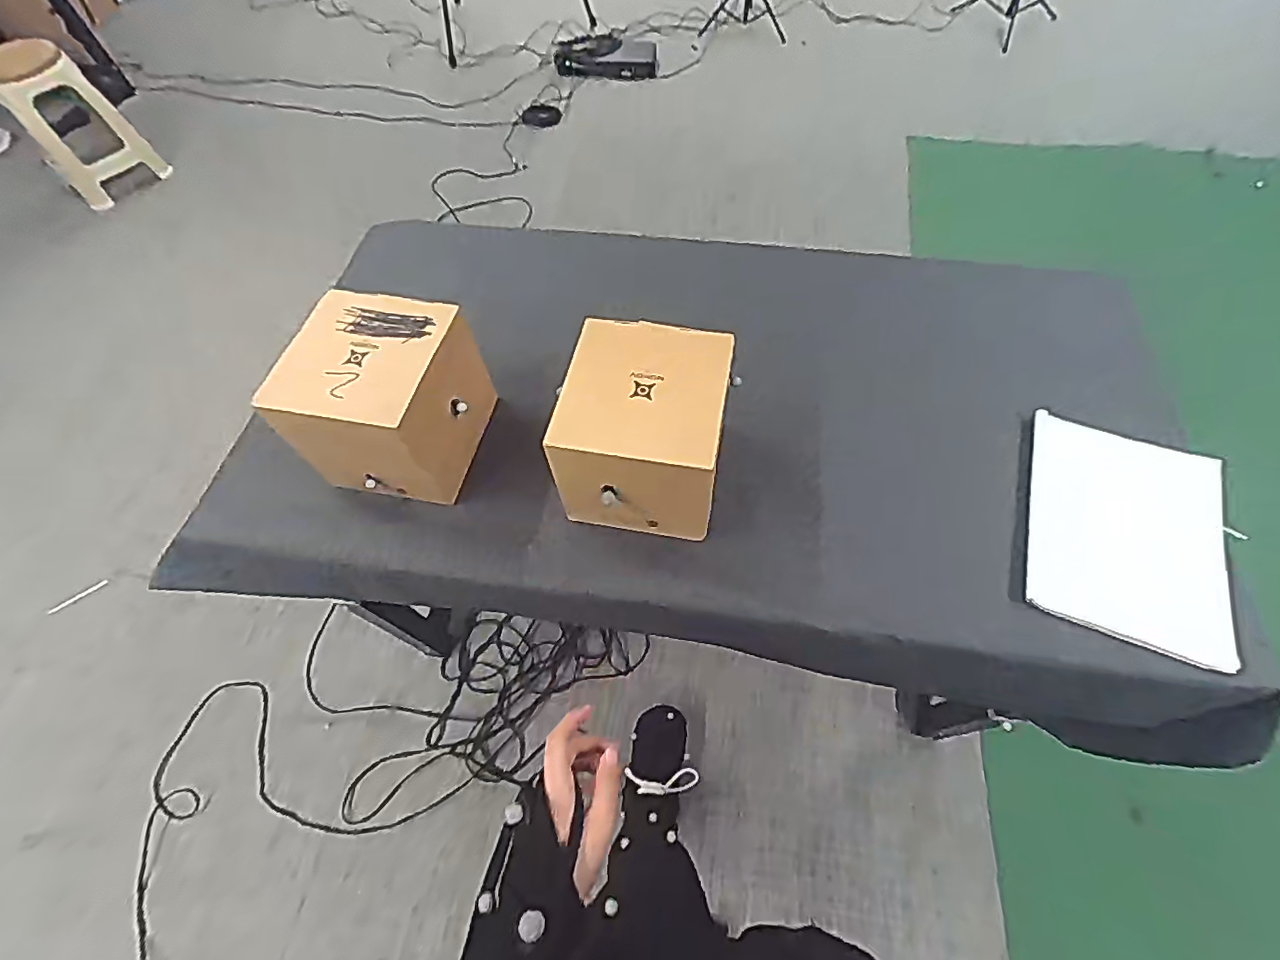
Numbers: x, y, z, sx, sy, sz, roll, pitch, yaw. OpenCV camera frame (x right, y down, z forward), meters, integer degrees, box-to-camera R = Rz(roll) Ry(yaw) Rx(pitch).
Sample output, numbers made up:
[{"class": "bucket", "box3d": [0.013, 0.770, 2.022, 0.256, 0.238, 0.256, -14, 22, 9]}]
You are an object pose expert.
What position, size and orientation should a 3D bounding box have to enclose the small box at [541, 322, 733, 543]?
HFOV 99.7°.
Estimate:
[{"class": "small box", "box3d": [0.006, -0.047, 0.605, 0.168, 0.176, 0.179, 8, 59, 8]}]
